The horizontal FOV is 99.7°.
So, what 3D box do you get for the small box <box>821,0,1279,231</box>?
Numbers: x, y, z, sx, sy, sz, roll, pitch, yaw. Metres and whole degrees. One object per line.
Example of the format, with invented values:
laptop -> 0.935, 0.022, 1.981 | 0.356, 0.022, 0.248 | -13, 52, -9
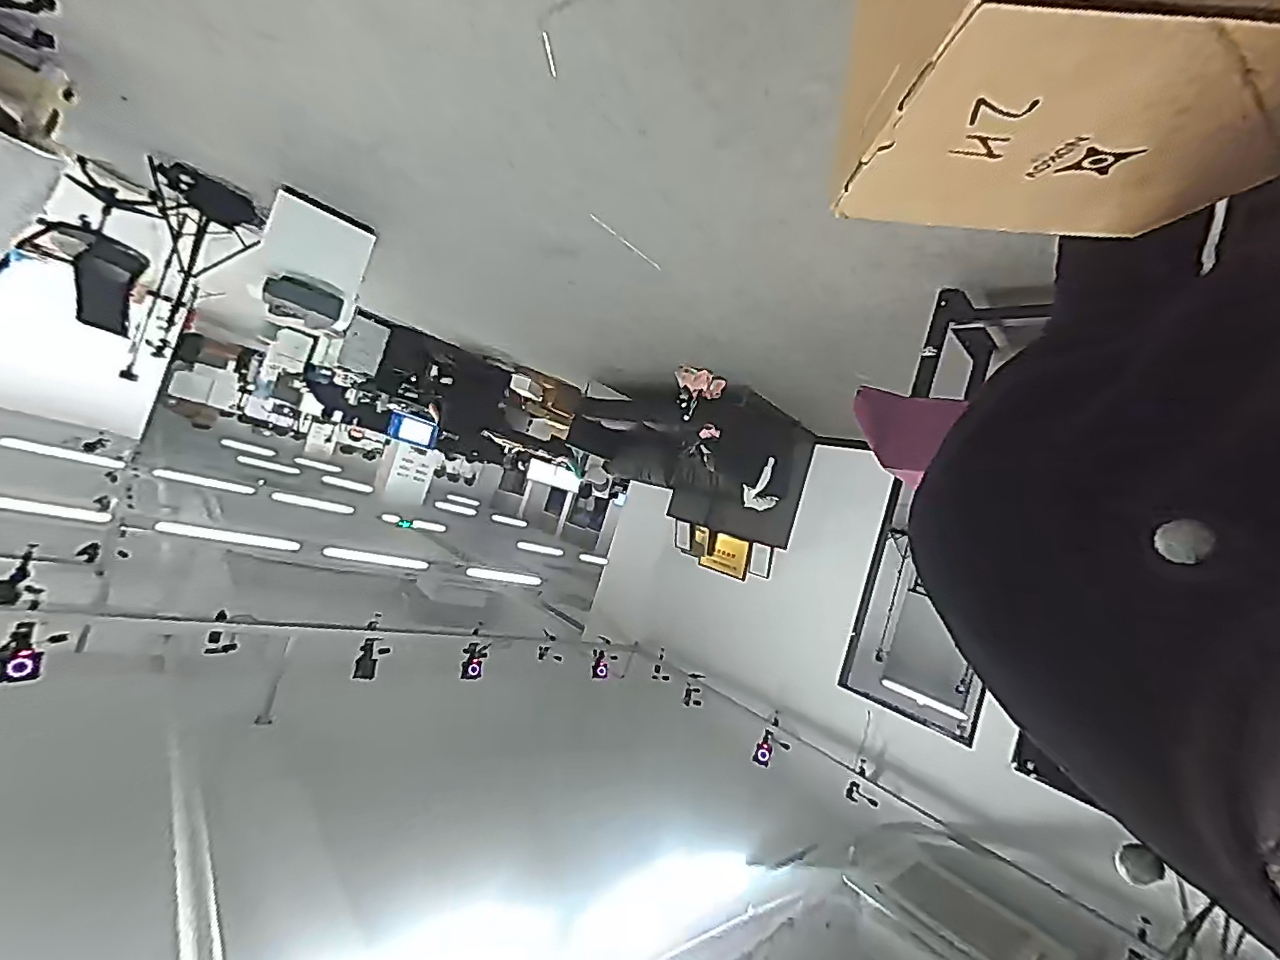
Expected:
small box -> 0.195, -0.224, 0.221 | 0.179, 0.176, 0.168 | 7, -175, 2
